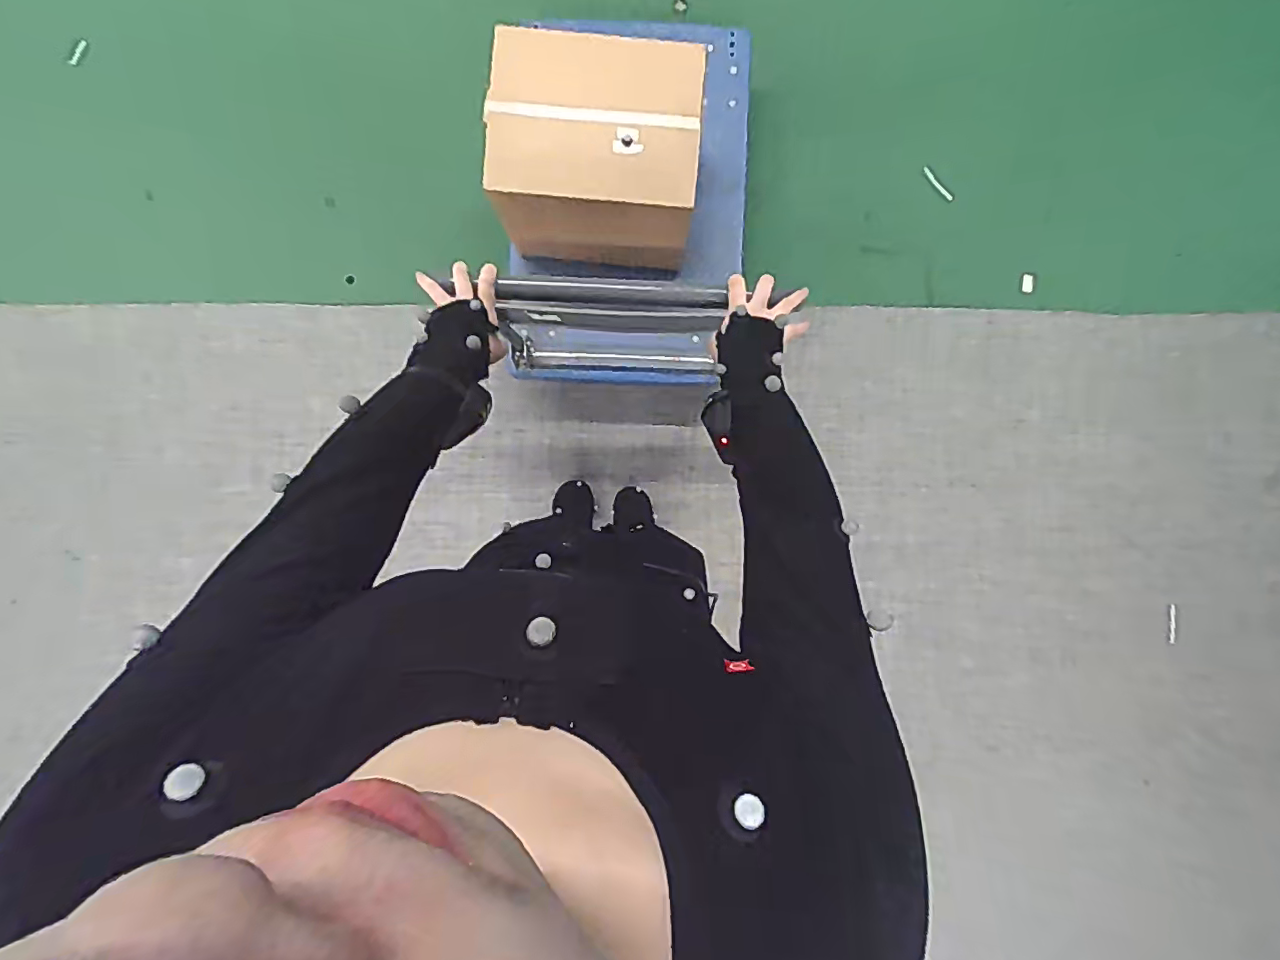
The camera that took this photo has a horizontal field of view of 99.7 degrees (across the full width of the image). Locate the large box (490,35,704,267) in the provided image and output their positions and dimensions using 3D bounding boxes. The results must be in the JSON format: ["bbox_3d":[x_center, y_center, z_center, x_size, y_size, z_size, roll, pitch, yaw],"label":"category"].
[{"bbox_3d":[-0.089,-0.692,1.191,0.408,0.320,0.320,5,90,-2],"label":"large box"}]
